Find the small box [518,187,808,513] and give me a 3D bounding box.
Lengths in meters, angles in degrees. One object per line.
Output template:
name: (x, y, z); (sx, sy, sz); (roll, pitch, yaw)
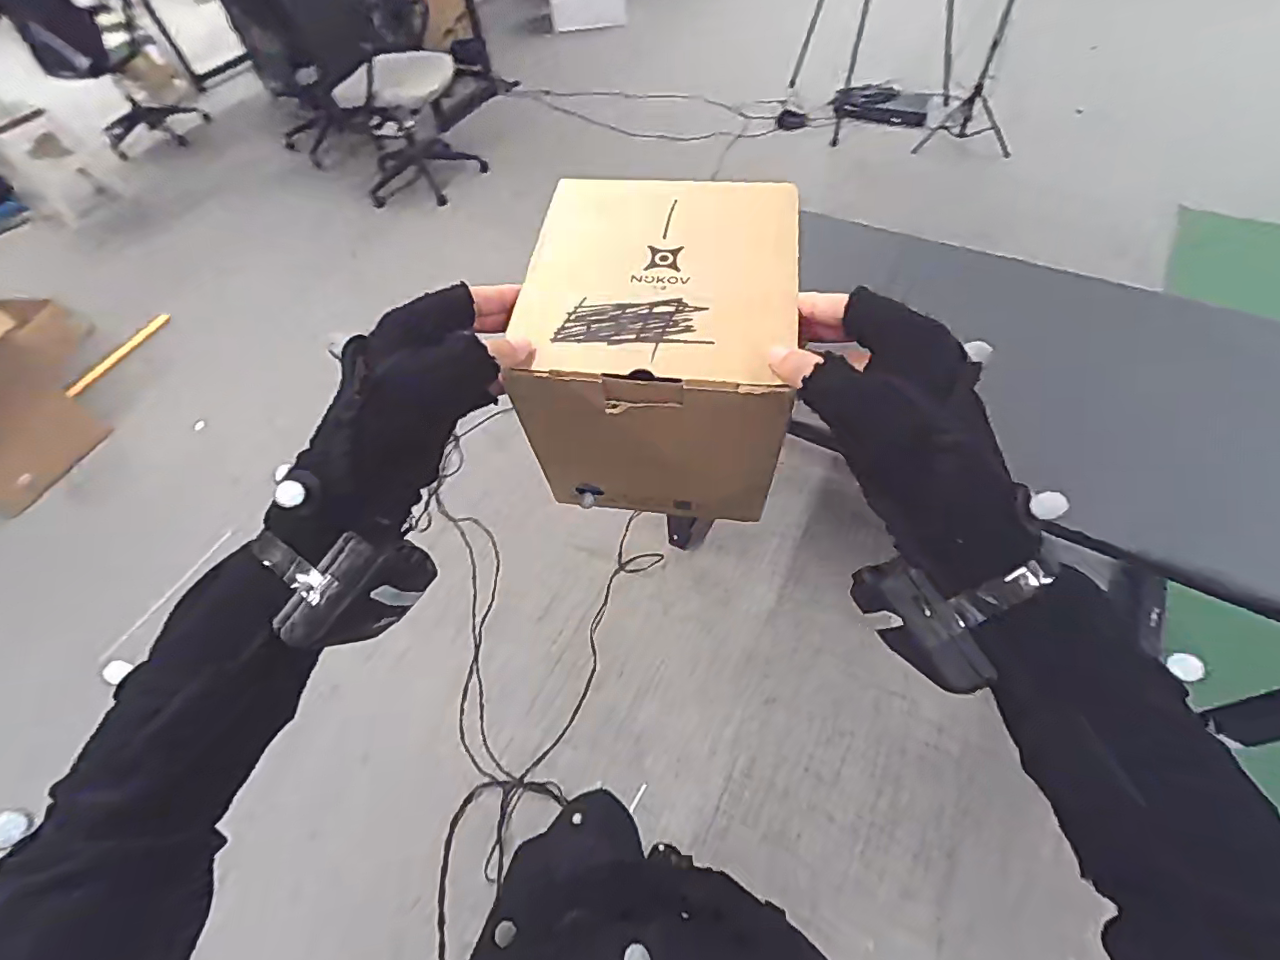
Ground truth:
small box: (0.027, -0.090, 0.410); (0.168, 0.176, 0.179); (6, 61, 7)
